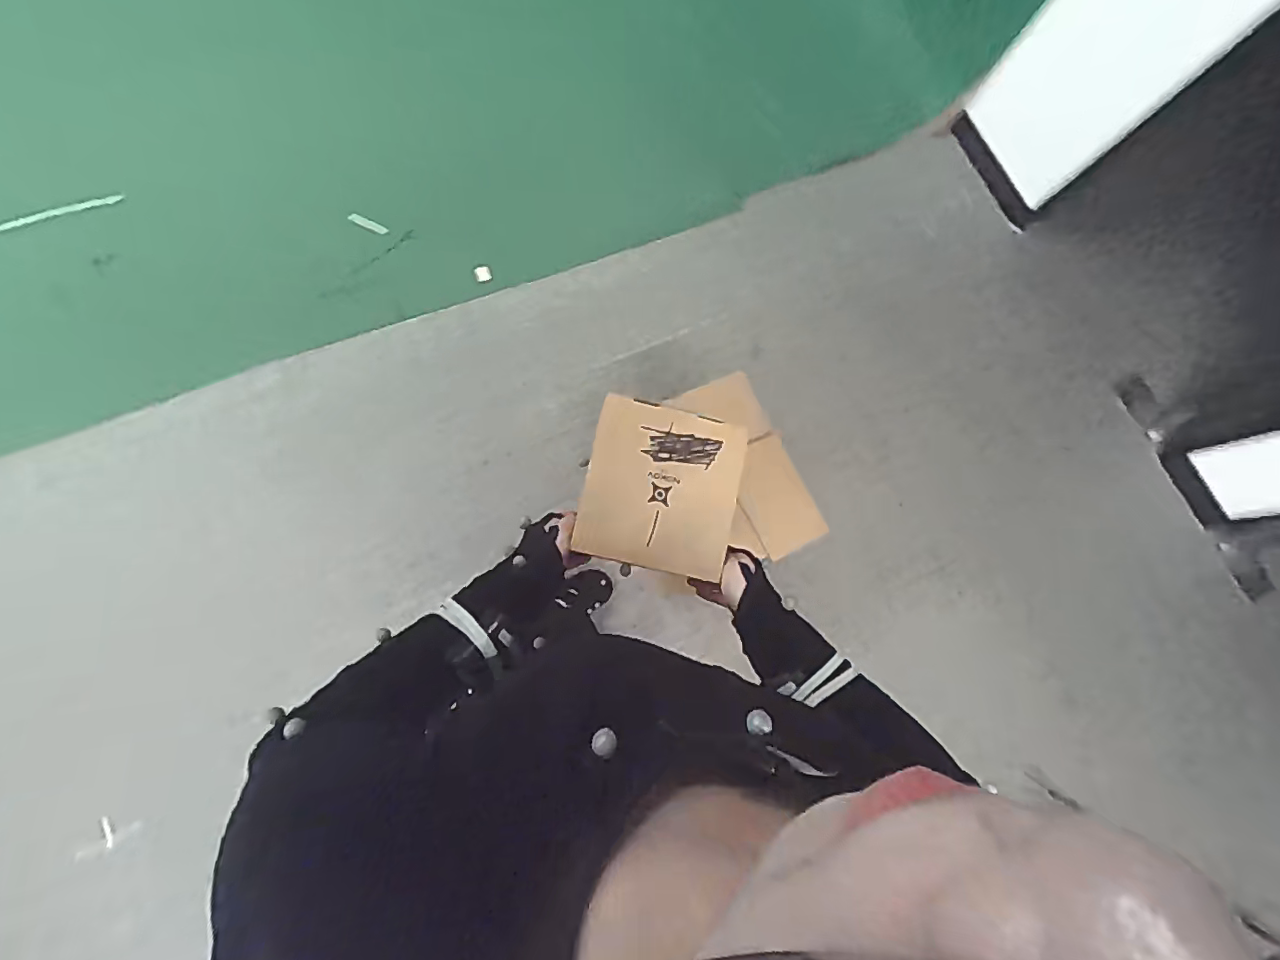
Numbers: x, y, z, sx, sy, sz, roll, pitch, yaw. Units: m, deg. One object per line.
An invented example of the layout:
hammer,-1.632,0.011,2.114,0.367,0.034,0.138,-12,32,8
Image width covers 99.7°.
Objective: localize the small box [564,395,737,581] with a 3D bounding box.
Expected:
small box,0.003,0.016,0.667,0.168,0.176,0.179,13,83,-6
